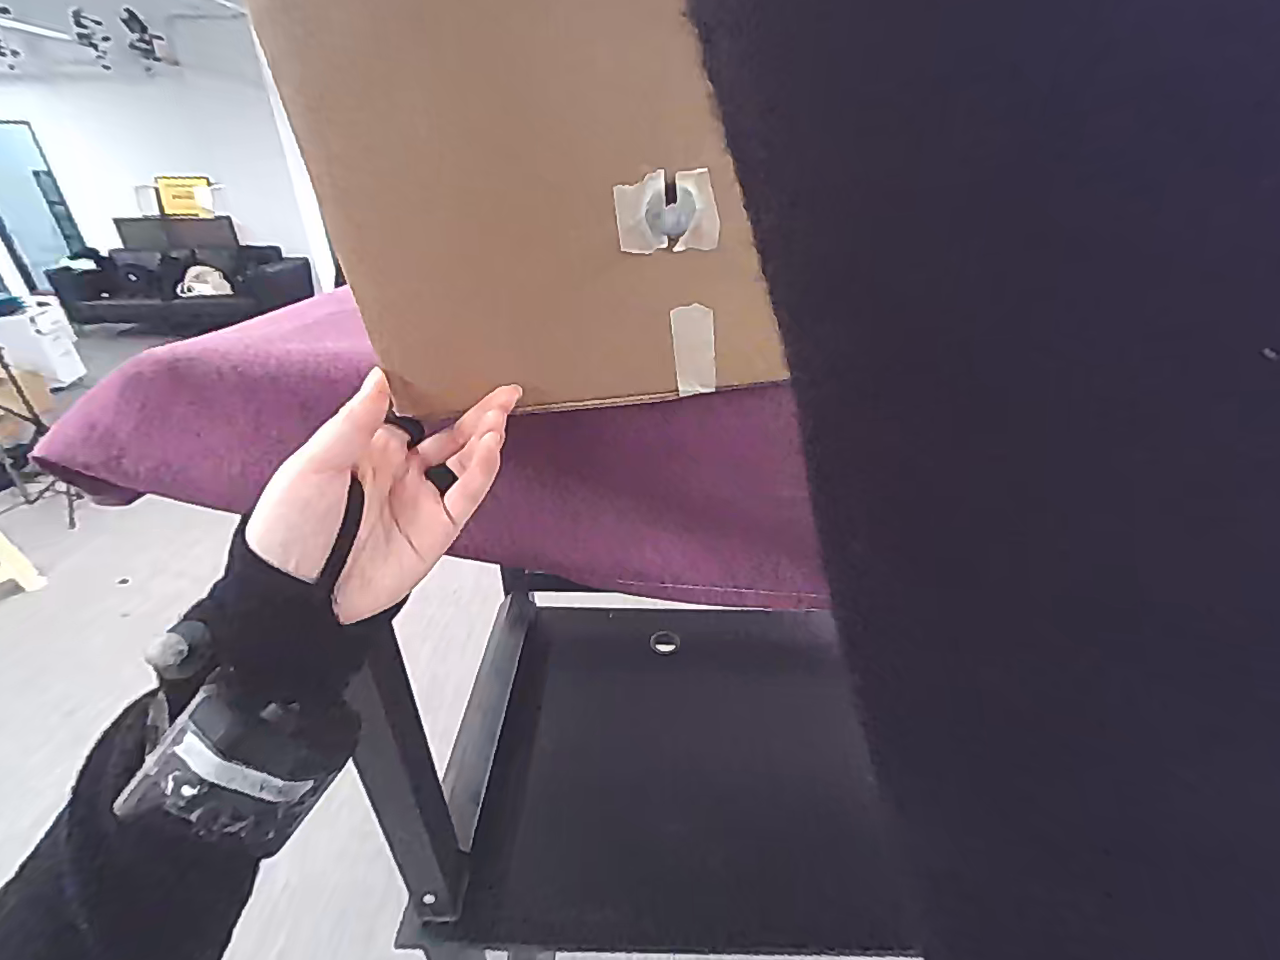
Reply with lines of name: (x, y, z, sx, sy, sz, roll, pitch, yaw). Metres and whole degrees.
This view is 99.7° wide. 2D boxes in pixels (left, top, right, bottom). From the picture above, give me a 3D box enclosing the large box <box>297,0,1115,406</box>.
large box: (0.001, -0.291, 0.332, 0.320, 0.320, 0.408, -6, 41, -8)
